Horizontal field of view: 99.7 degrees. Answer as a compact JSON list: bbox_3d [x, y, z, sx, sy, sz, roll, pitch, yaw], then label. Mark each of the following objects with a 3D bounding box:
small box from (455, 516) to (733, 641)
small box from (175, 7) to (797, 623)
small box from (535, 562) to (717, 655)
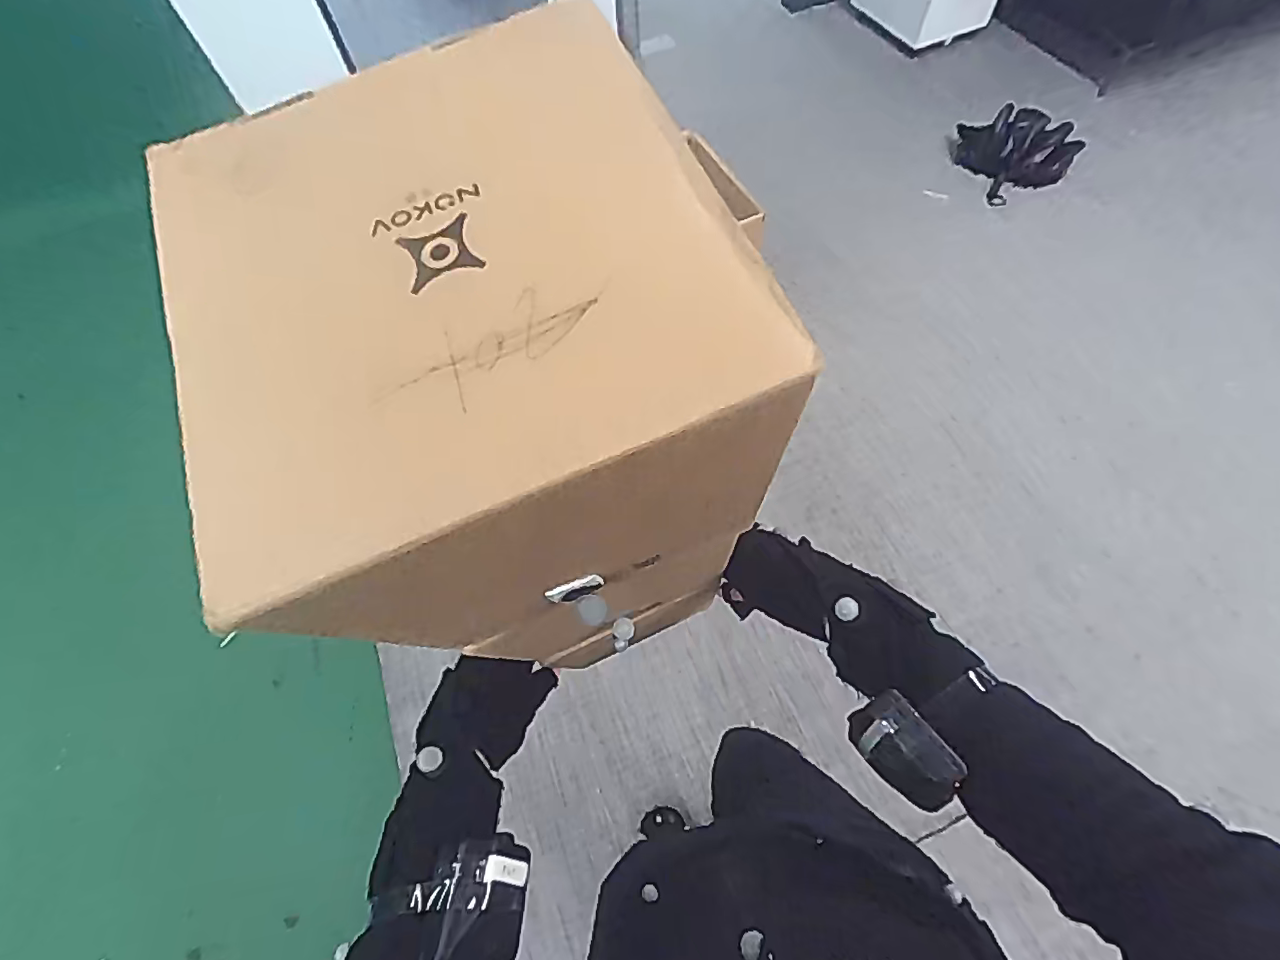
[{"bbox_3d":[-0.049,0.005,0.401,0.168,0.176,0.179,-24,71,-4],"label":"small box"},{"bbox_3d":[-0.055,-0.049,0.249,0.168,0.176,0.179,-24,71,-2],"label":"small box"},{"bbox_3d":[-0.036,0.064,0.555,0.168,0.176,0.179,-25,70,-4],"label":"small box"}]
